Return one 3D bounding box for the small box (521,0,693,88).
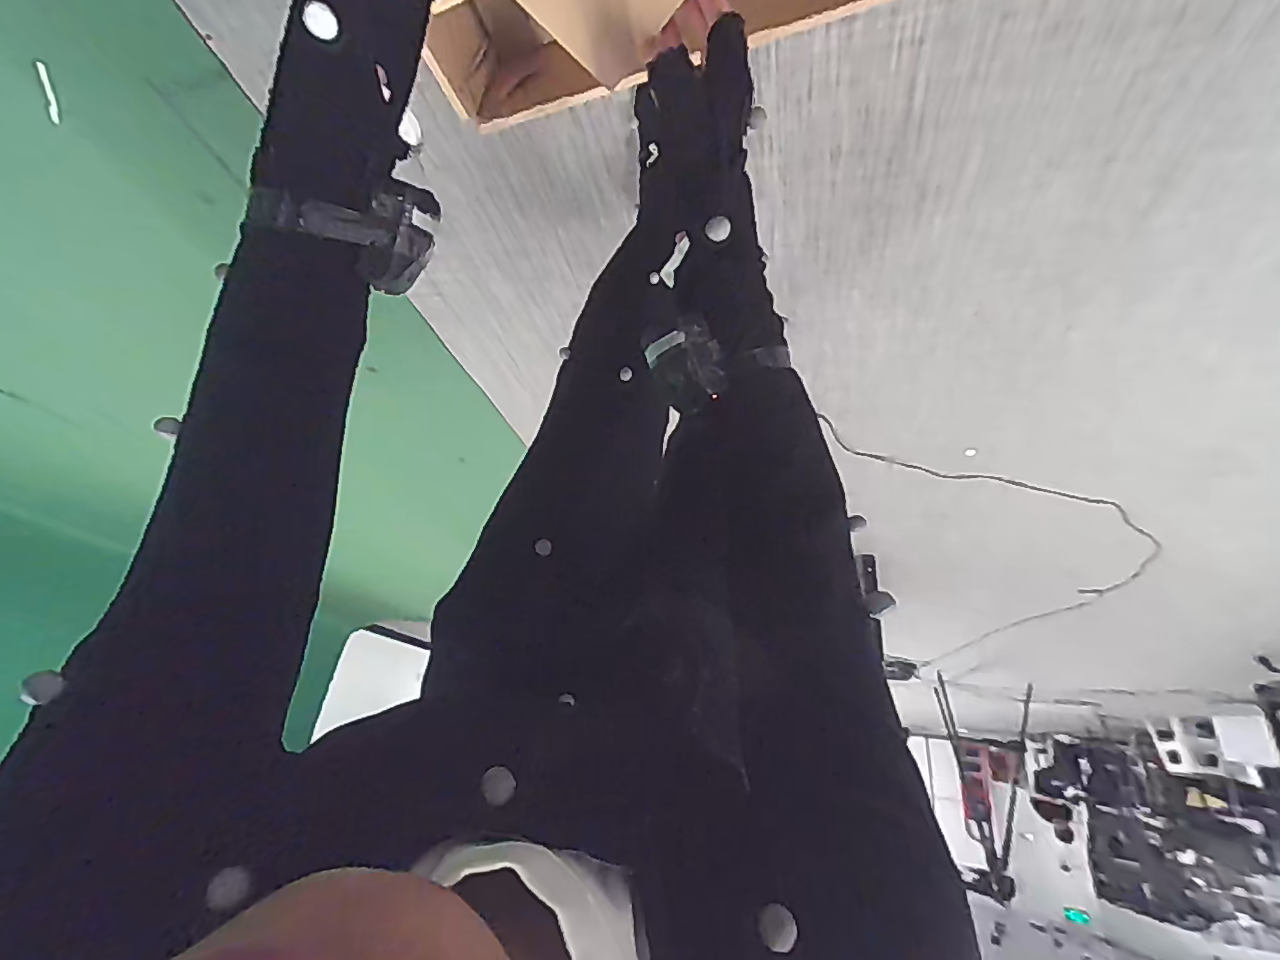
[{"bbox_3d":[-0.022,-0.425,0.349,0.179,0.176,0.168,23,150,-35],"label":"small box"}]
